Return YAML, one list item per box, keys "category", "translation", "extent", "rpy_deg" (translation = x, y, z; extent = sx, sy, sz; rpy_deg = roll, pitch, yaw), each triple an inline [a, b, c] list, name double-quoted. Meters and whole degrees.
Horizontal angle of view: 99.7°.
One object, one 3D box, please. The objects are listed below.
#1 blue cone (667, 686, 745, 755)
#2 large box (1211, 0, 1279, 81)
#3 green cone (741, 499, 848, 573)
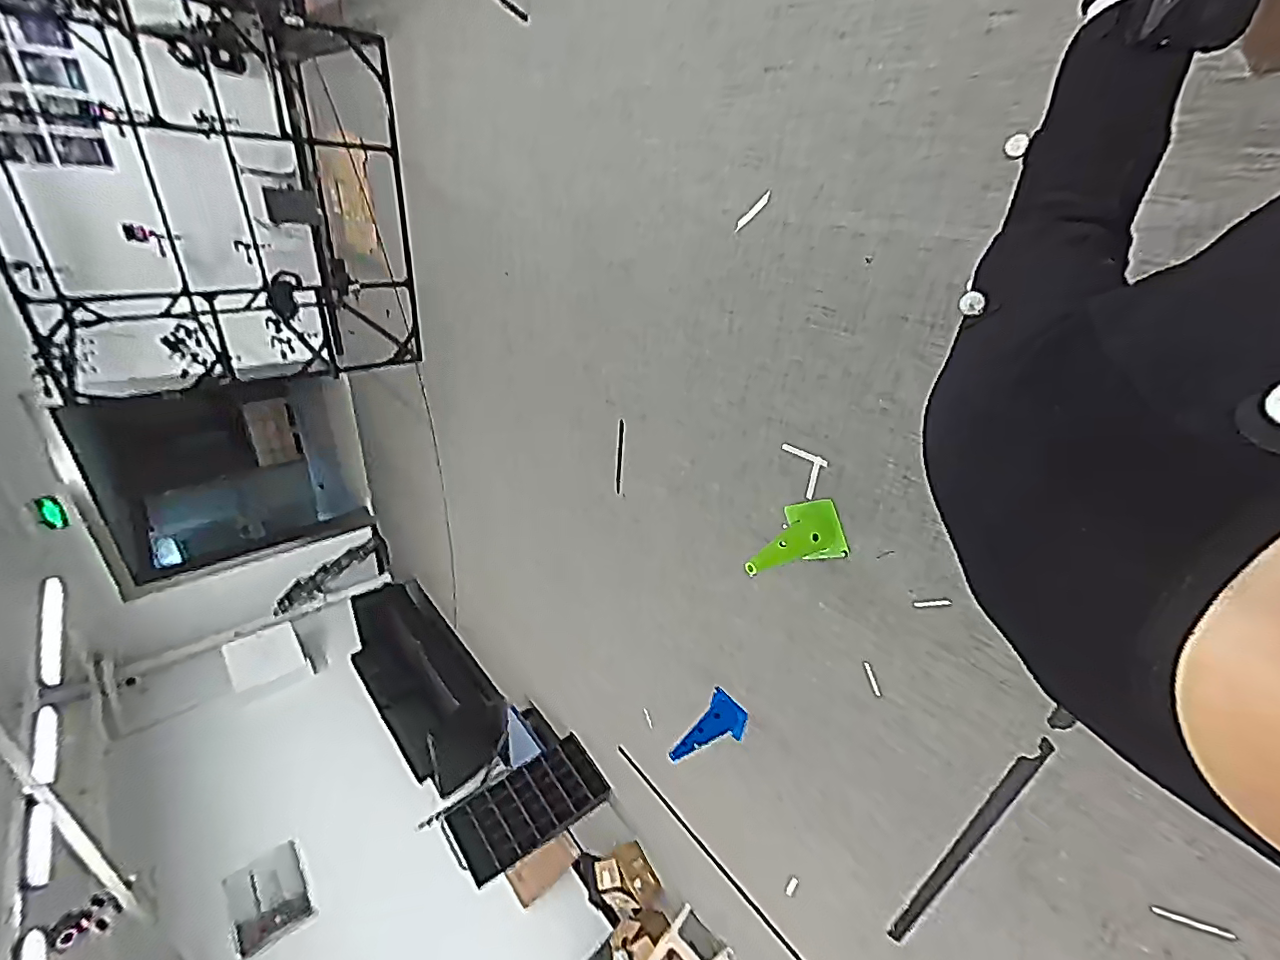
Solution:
- category: "blue cone"
  translation: [0.275, 1.107, 2.394]
  extent: [0.192, 0.380, 0.193]
  rpy_deg: [38, 132, 38]
- category: "large box"
  translation: [0.590, -0.444, 0.242]
  extent: [0.408, 0.320, 0.320]
  rpy_deg: [20, 121, 46]
- category: "green cone"
  translation: [0.462, 0.211, 1.729]
  extent: [0.202, 0.368, 0.200]
  rpy_deg: [-18, 90, 55]
